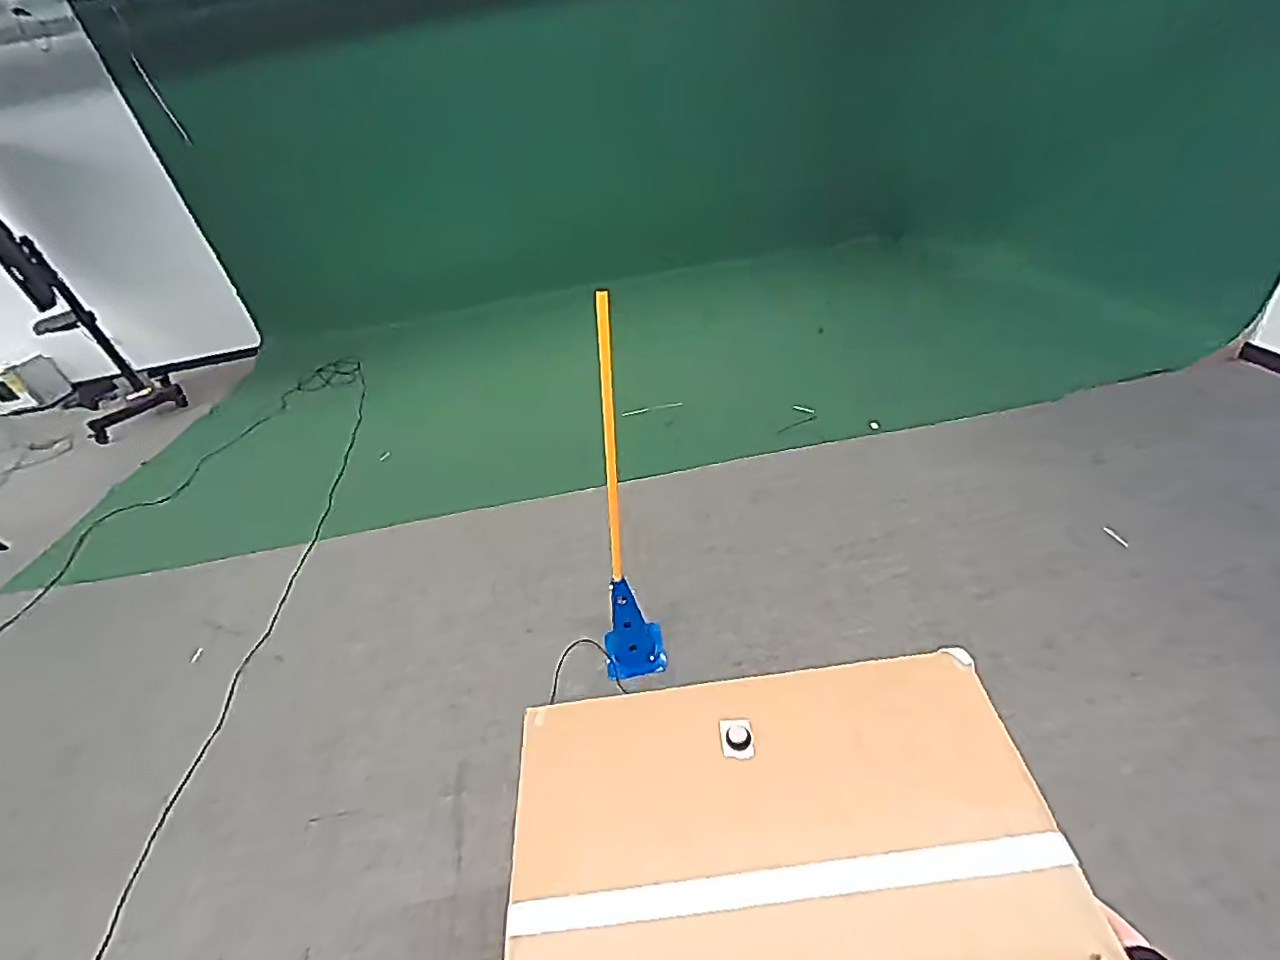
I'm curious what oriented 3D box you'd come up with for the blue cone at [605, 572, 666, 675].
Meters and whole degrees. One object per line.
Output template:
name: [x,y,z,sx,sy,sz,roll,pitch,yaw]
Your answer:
blue cone: [-0.039,0.428,1.720,0.193,0.380,0.192,-11,36,-4]
